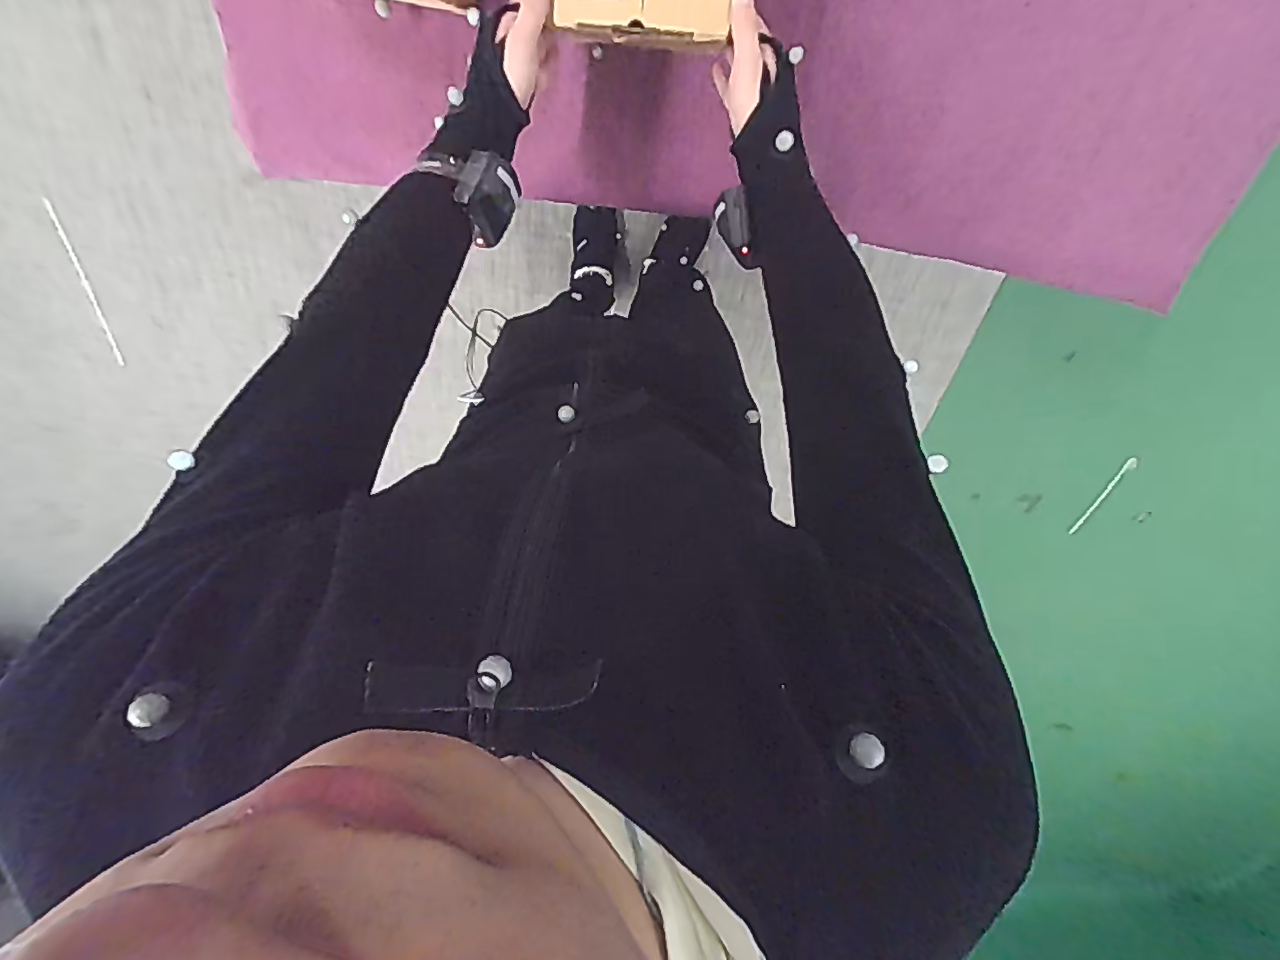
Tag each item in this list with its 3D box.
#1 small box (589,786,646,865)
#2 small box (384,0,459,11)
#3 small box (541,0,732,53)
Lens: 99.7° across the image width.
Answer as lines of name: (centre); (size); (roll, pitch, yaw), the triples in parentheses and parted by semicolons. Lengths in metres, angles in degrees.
small box: (-0.075, 1.180, 1.850); (0.168, 0.176, 0.179); (10, 125, -3)
small box: (-0.258, -0.539, 0.474); (0.179, 0.176, 0.168); (8, 125, -4)
small box: (0.007, -0.503, 0.485); (0.168, 0.176, 0.179); (5, 125, 0)
